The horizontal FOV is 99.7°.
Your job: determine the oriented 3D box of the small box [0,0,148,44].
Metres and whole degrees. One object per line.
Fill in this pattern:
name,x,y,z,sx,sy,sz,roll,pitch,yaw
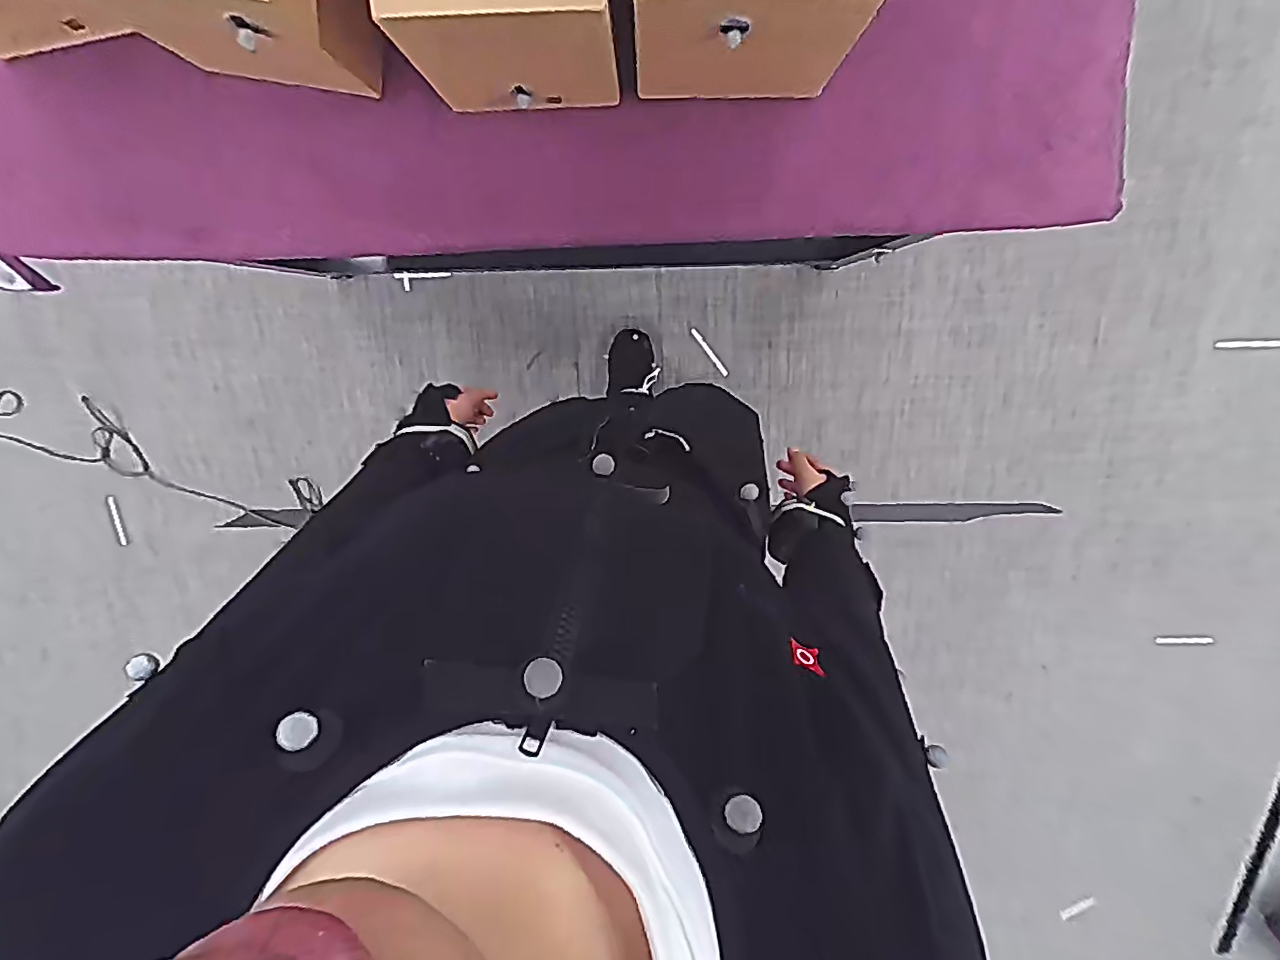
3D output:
small box,-0.555,-0.483,0.423,0.168,0.176,0.179,-9,106,4
